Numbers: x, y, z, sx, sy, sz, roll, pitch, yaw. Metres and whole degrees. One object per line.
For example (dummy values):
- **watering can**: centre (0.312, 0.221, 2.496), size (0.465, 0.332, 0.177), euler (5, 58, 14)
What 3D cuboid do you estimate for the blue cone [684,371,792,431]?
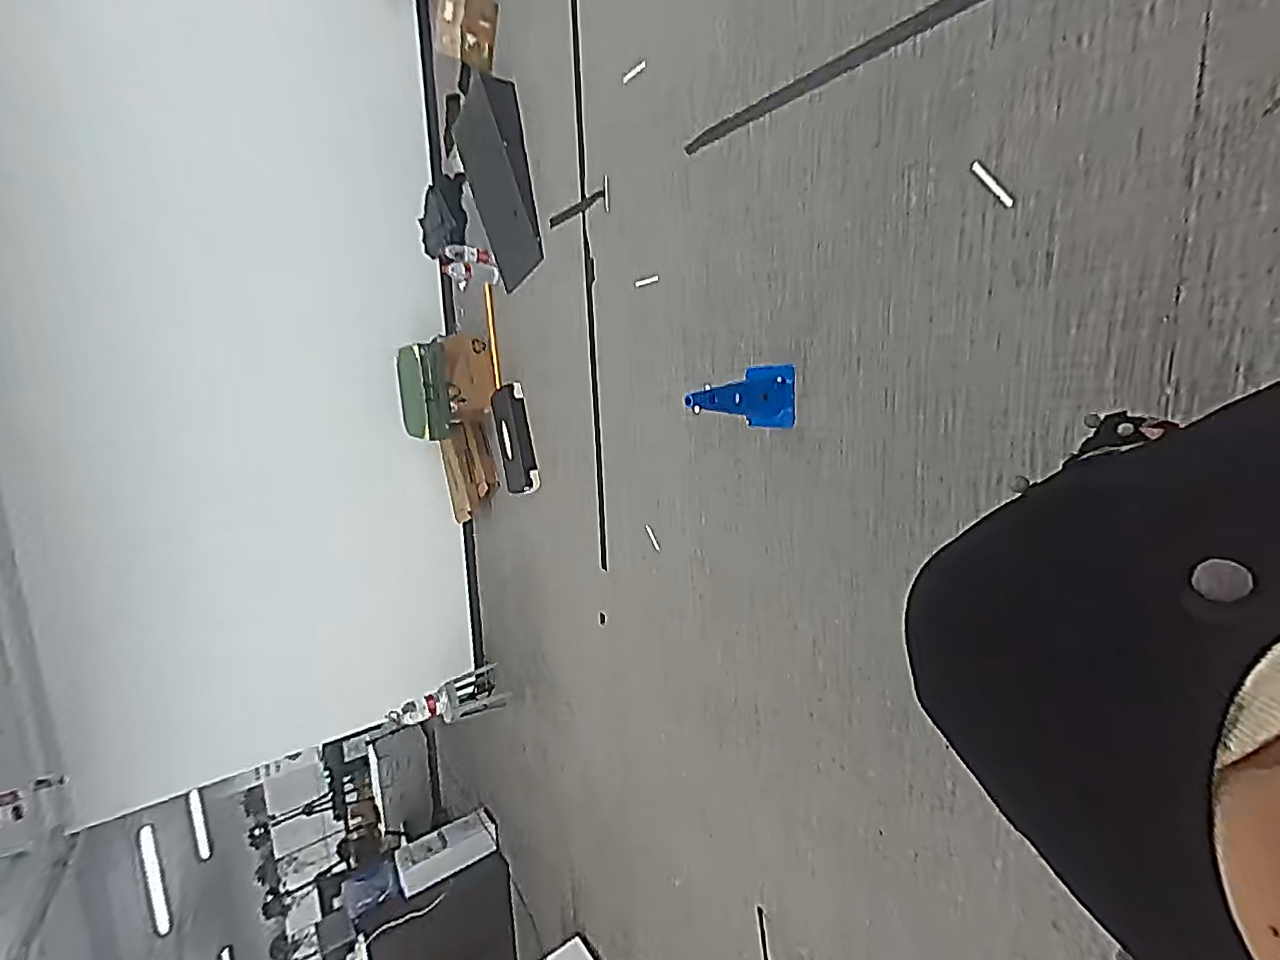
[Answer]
- **blue cone**: centre (0.286, -0.233, 1.667), size (0.193, 0.380, 0.192), euler (12, 108, 53)
